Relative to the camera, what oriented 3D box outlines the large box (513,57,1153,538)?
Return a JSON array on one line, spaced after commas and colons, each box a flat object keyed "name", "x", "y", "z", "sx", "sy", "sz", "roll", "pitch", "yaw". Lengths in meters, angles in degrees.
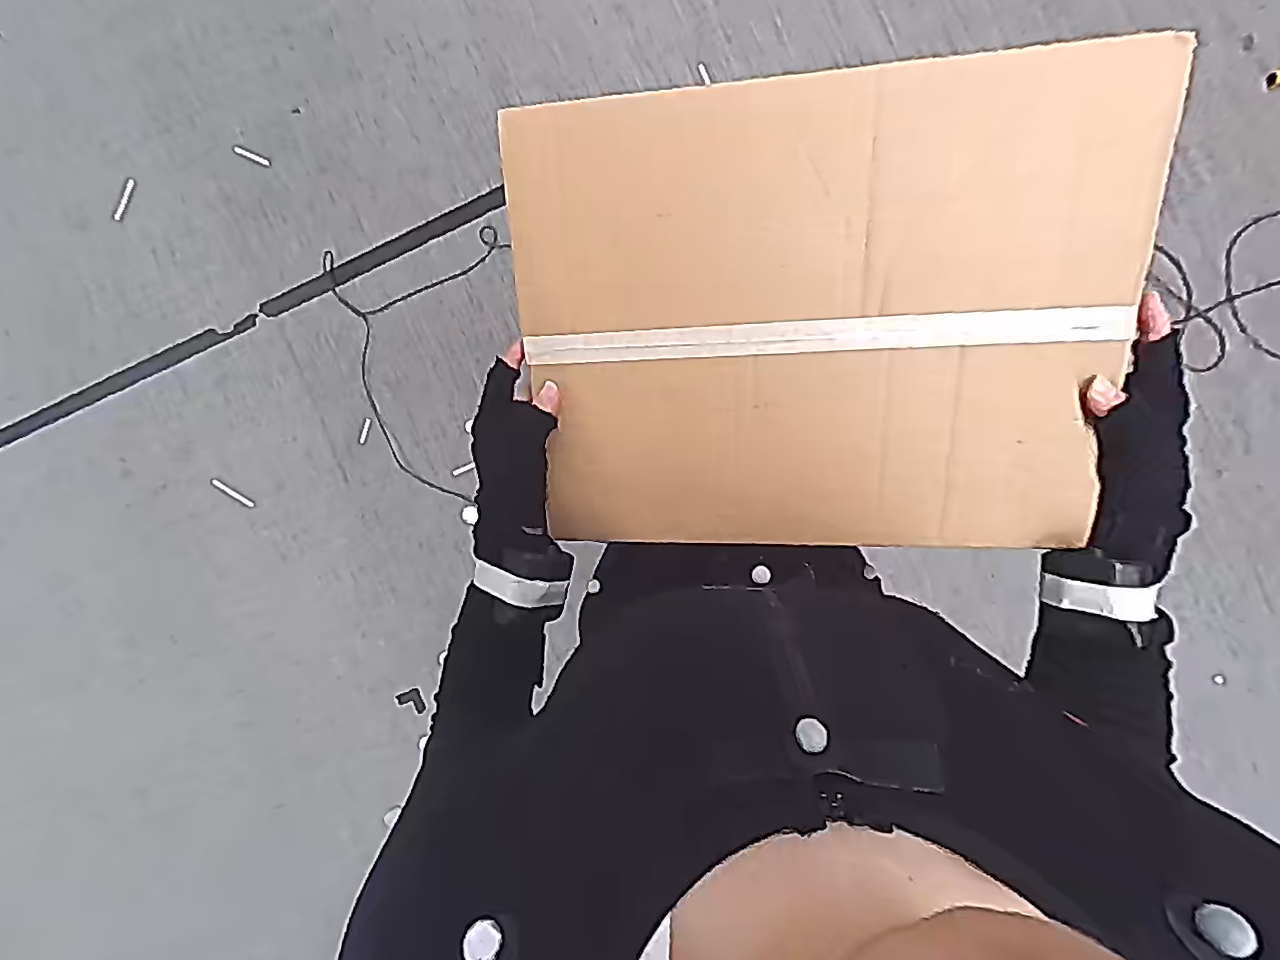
[{"name": "large box", "x": 0.134, "y": -0.145, "z": 0.531, "sx": 0.408, "sy": 0.320, "sz": 0.320, "roll": 0, "pitch": 109, "yaw": 9}]
